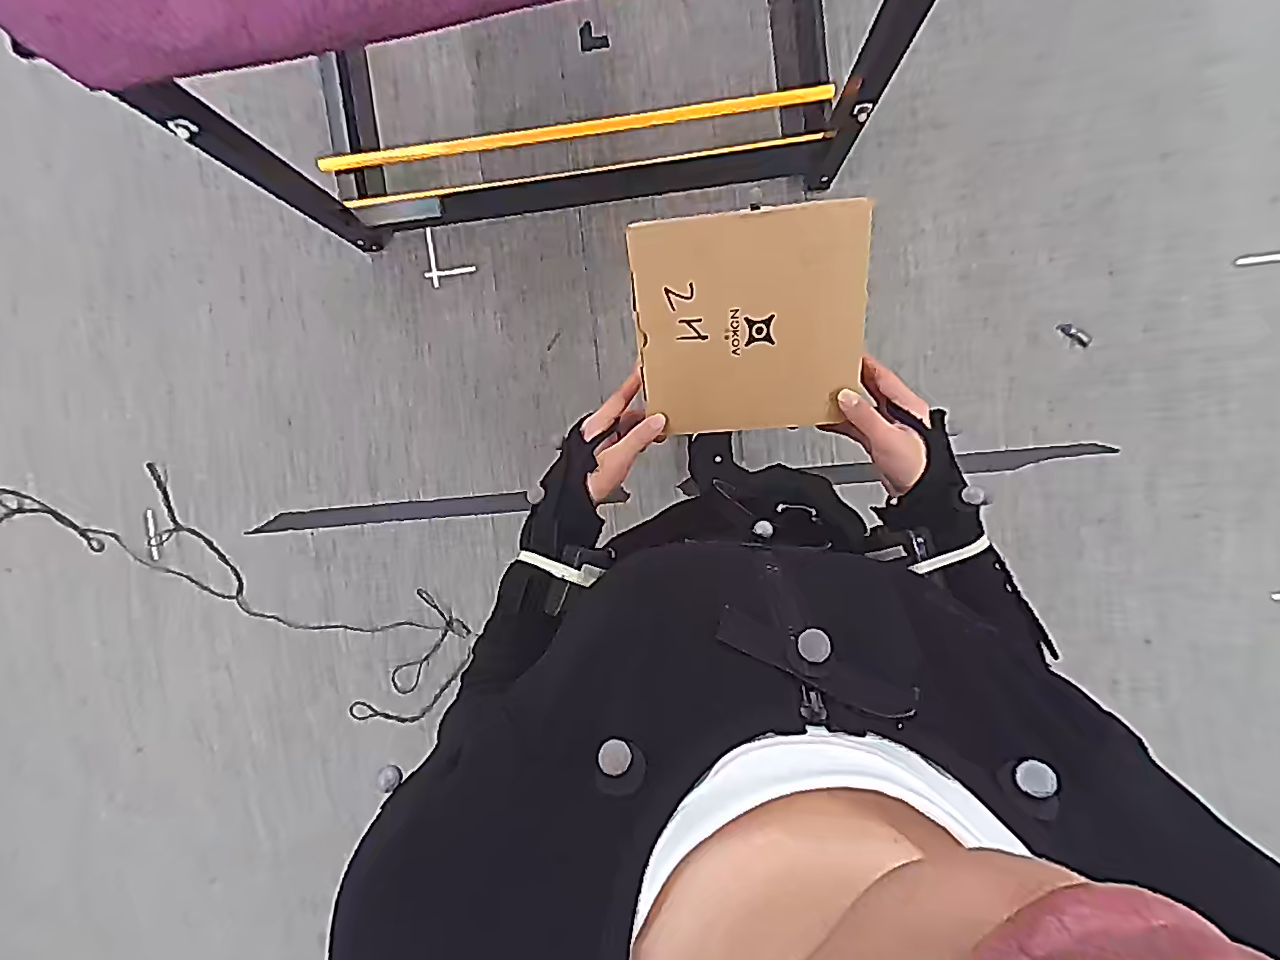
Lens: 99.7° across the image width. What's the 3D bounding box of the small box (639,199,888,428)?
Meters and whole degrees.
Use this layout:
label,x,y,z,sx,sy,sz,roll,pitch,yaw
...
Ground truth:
label,x,y,z,sx,sy,sz,roll,pitch,yaw
small box,0.097,-0.154,0.484,0.179,0.176,0.168,-2,116,7
